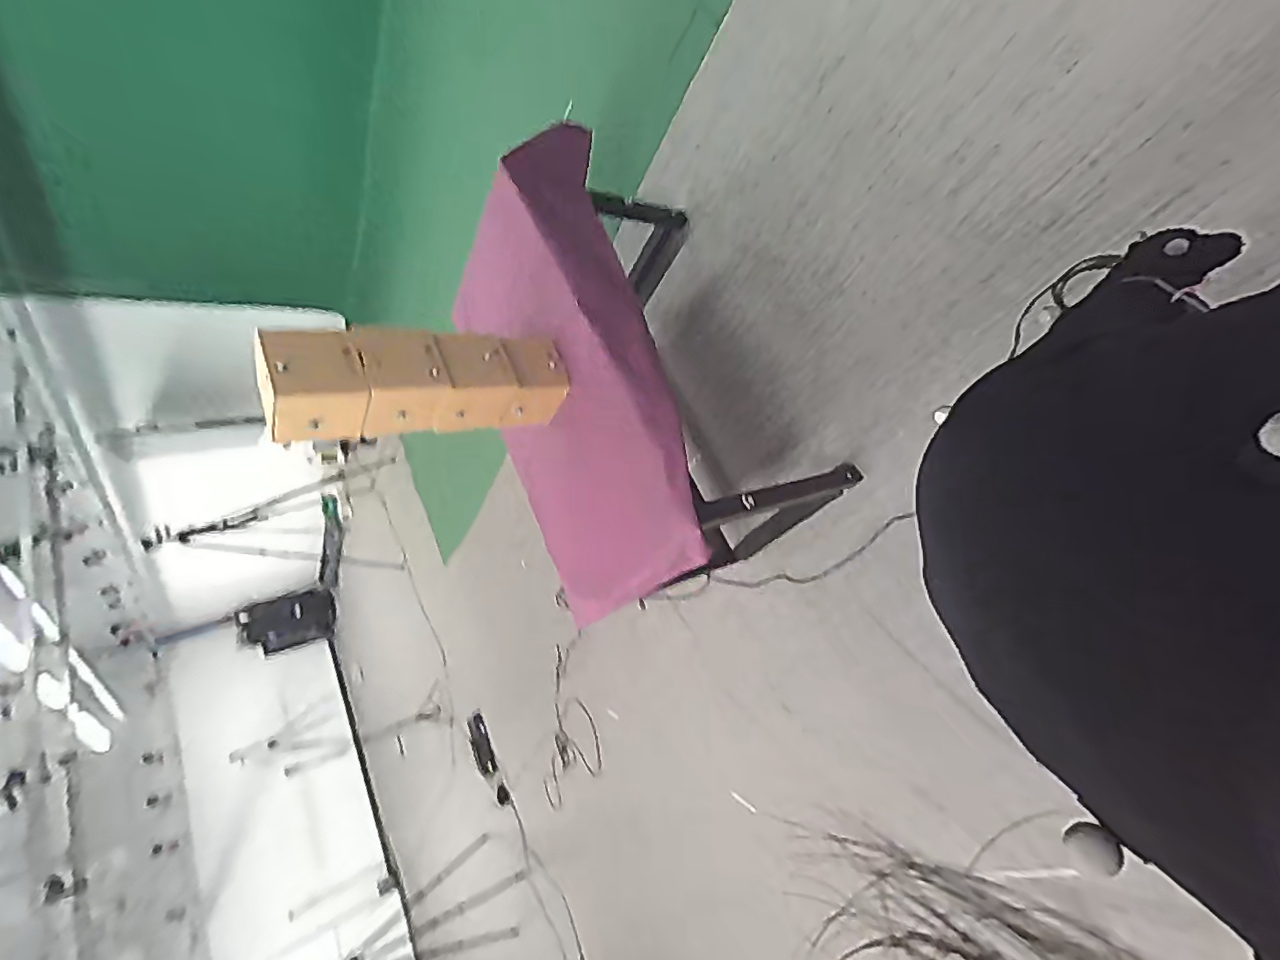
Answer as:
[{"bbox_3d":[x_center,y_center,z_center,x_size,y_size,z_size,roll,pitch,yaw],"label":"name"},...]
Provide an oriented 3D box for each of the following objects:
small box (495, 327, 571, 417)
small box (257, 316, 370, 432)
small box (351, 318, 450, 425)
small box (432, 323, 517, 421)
[{"bbox_3d":[-0.307,-0.285,1.441,0.179,0.176,0.168,-42,67,46],"label":"small box"},{"bbox_3d":[-0.673,-0.217,1.119,0.179,0.176,0.168,-43,67,48],"label":"small box"},{"bbox_3d":[-0.545,-0.246,1.218,0.179,0.176,0.168,-44,65,47],"label":"small box"},{"bbox_3d":[-0.423,-0.263,1.326,0.179,0.176,0.168,-45,66,46],"label":"small box"}]
